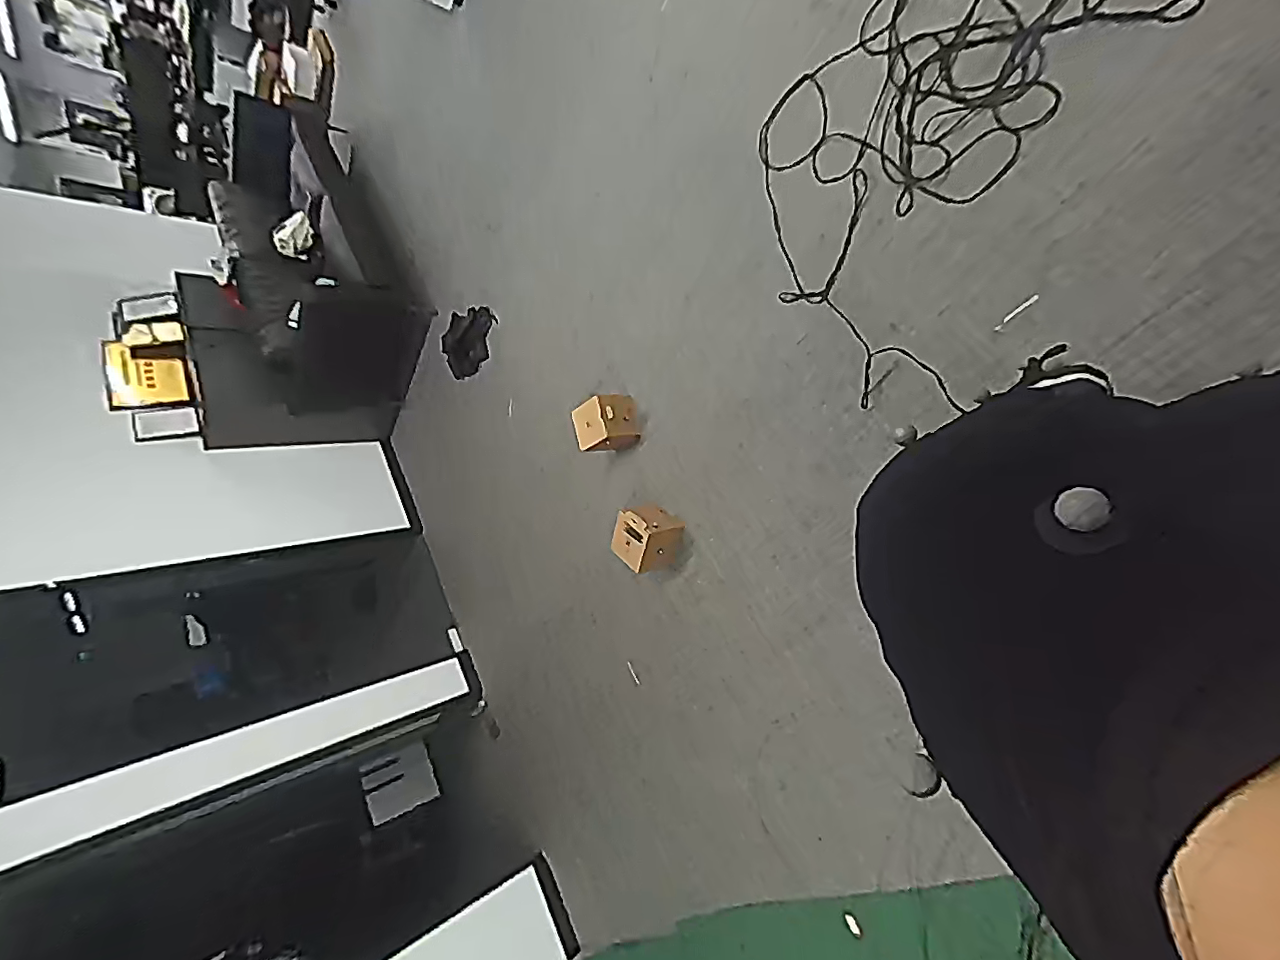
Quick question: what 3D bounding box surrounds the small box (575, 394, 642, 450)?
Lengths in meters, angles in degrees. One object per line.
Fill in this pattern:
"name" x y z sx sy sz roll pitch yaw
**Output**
"small box" -0.119 -0.218 2.061 0.179 0.176 0.168 -25 77 46
